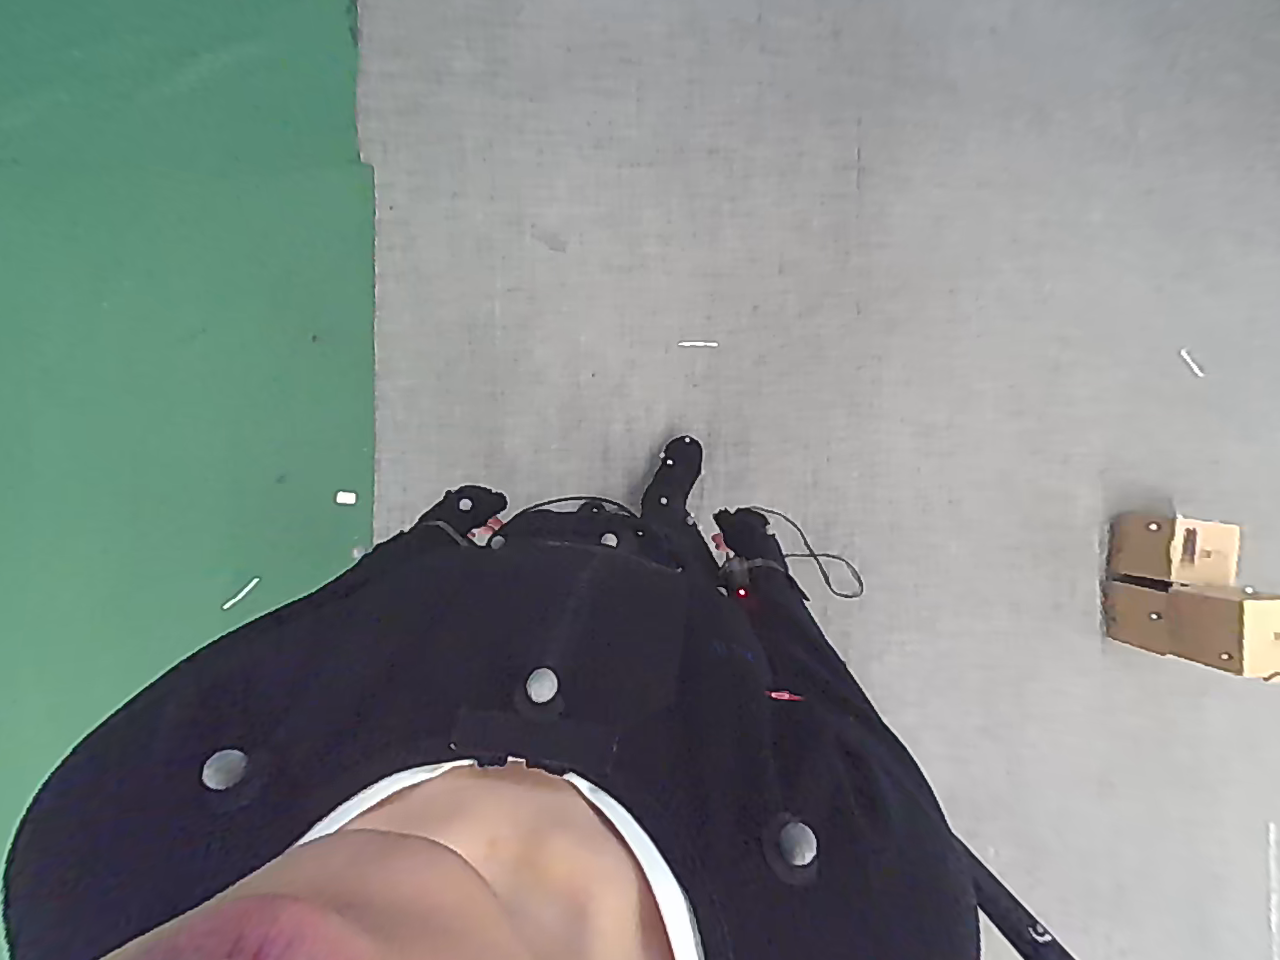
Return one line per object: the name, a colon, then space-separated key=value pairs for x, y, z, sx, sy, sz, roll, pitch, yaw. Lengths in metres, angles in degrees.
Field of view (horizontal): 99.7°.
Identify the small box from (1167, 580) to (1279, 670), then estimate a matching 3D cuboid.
small box: x=1.413 y=0.337 z=1.286 sx=0.168 sy=0.176 sz=0.179 roll=-1 pitch=91 yaw=-2
